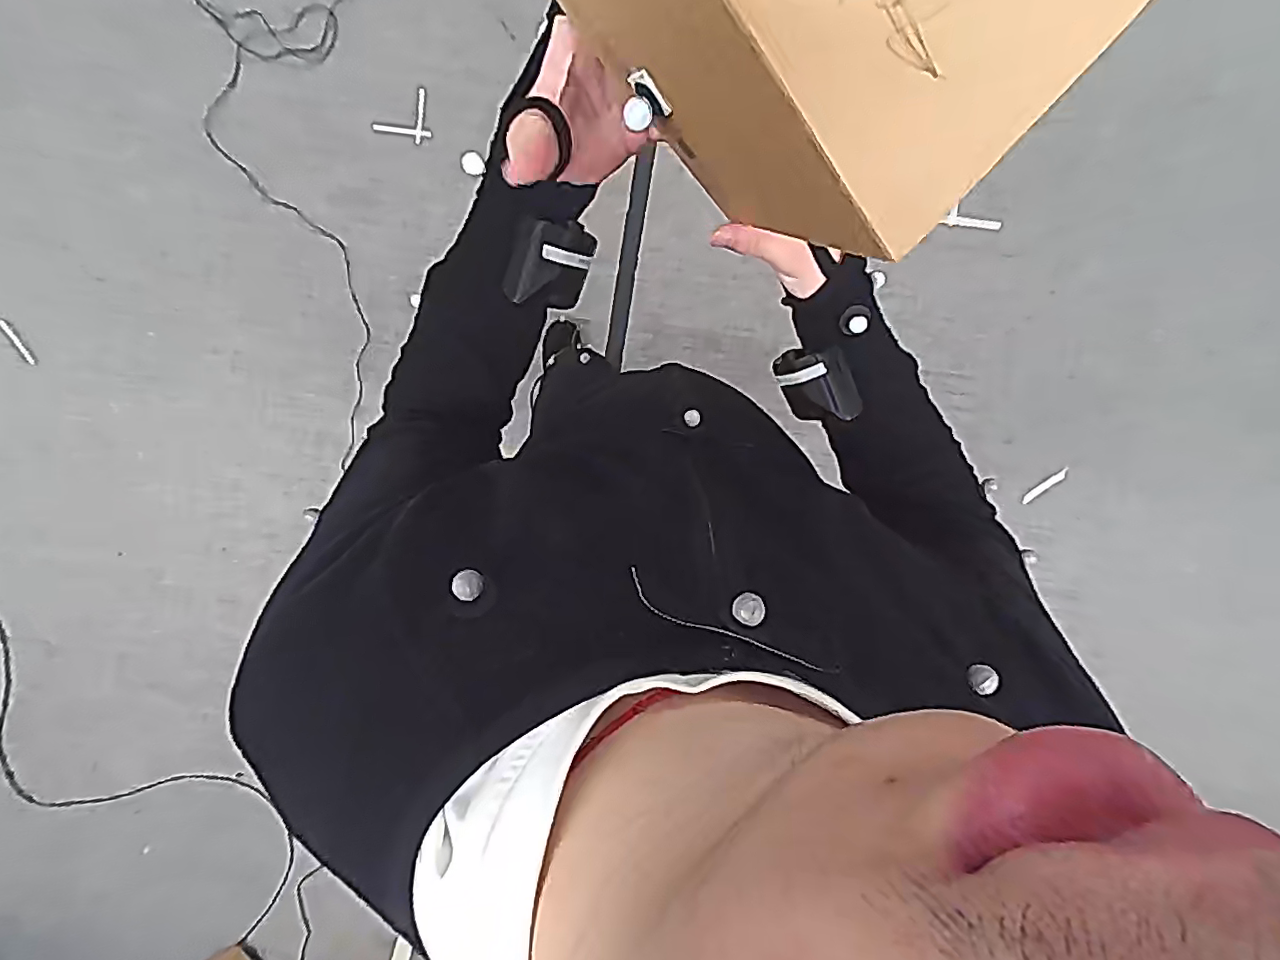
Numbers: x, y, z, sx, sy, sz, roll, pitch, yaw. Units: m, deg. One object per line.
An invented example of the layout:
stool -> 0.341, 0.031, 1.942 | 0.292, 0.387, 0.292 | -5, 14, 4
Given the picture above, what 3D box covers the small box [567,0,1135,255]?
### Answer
small box -> 0.087, -0.239, 0.244 | 0.168, 0.176, 0.179 | 35, 105, -32
